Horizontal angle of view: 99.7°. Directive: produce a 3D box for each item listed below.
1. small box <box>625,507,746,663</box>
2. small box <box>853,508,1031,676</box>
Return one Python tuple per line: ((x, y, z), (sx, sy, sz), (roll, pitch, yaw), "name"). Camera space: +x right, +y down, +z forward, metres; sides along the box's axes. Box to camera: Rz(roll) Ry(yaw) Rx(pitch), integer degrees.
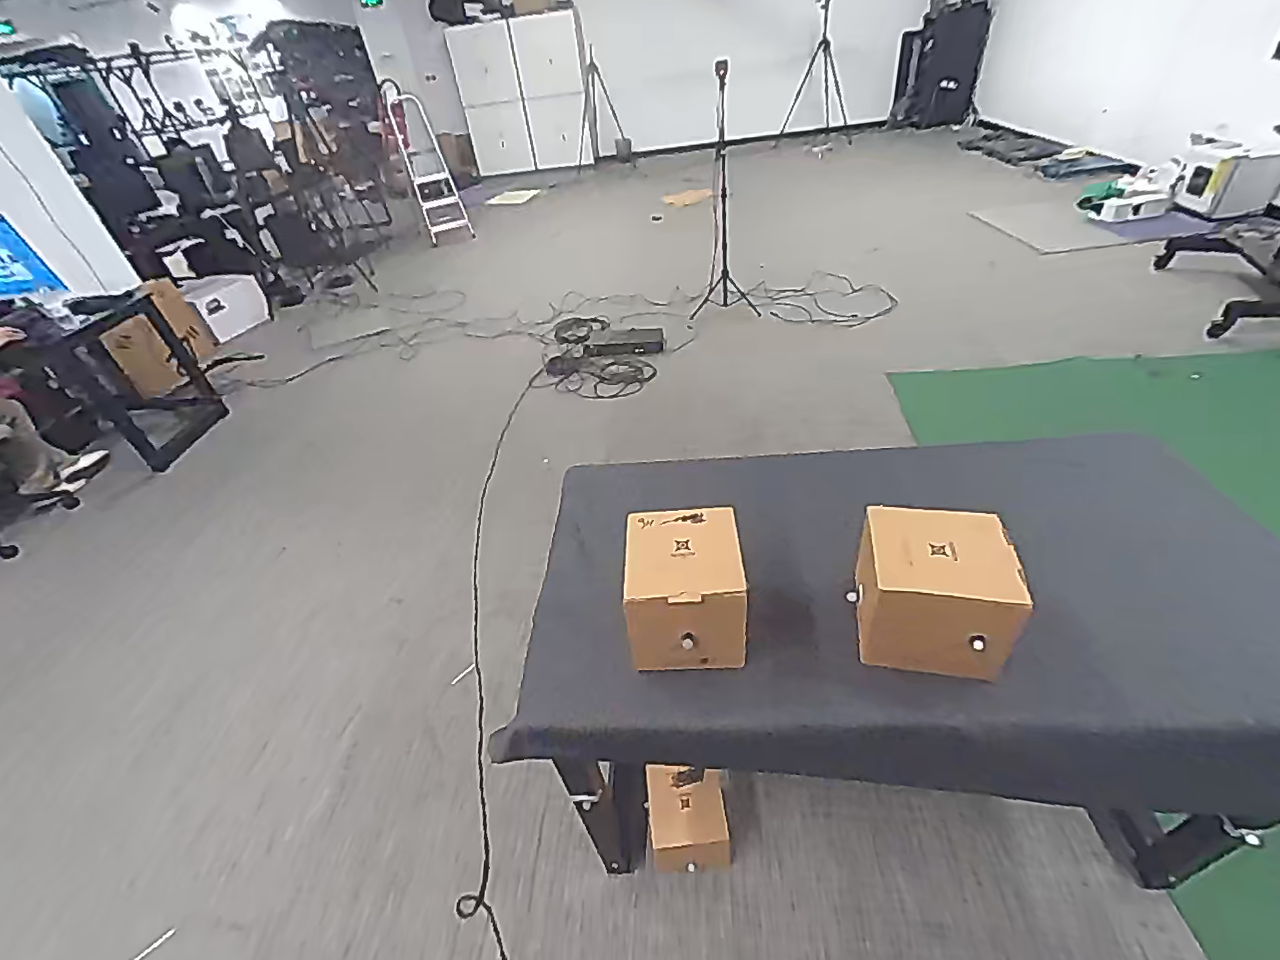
((0.072, 0.165, 0.828), (0.168, 0.176, 0.179), (-4, 38, 5), "small box")
((0.415, 0.160, 0.780), (0.179, 0.176, 0.168), (2, 38, 14), "small box")
